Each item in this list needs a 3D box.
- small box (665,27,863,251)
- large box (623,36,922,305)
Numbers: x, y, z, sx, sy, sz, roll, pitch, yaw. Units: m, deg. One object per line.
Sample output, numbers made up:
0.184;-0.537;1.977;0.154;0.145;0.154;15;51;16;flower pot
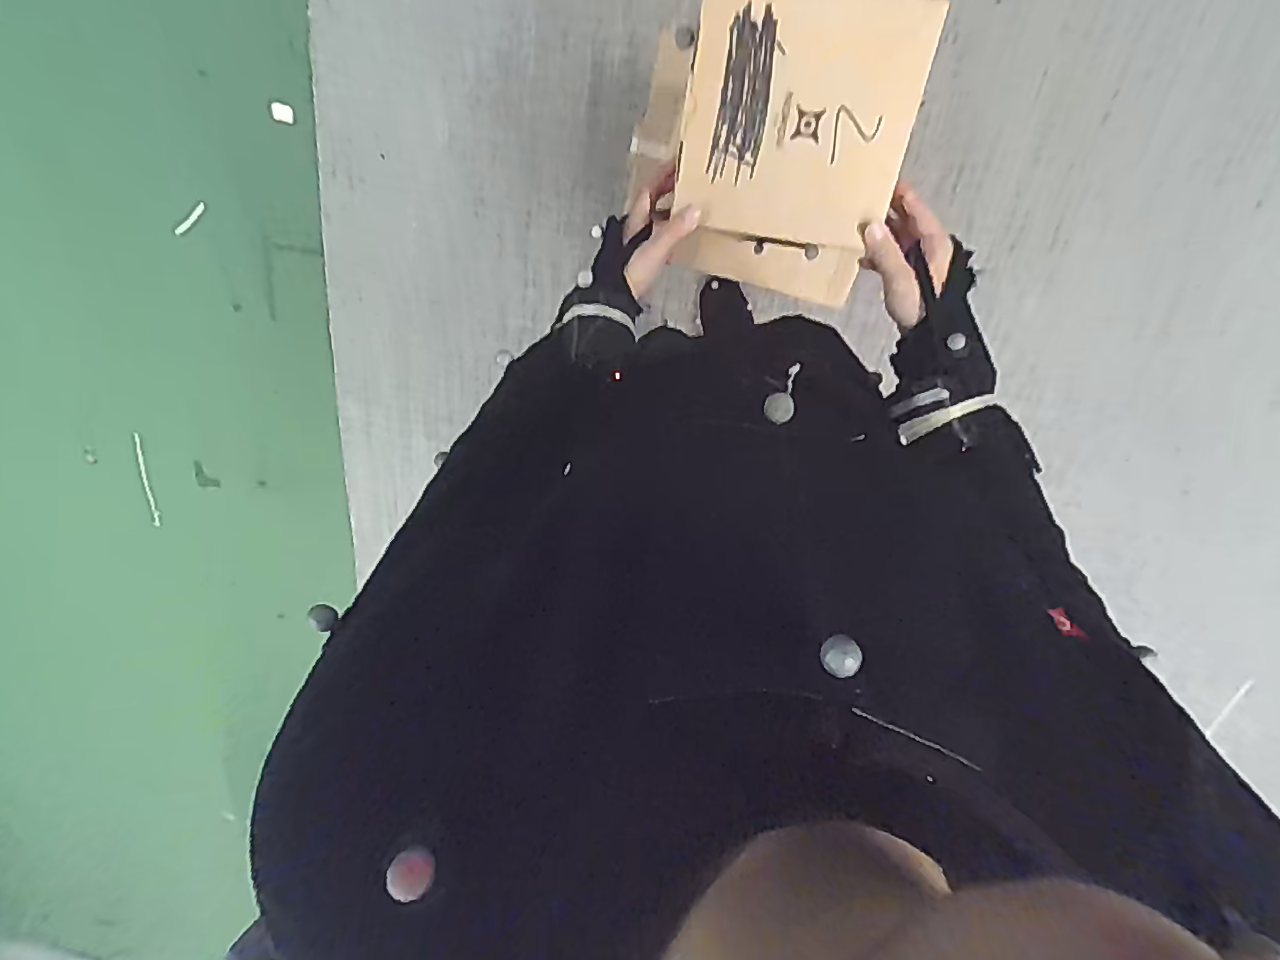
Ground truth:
0.131;-0.379;0.634;0.168;0.176;0.179;12;114;0;small box
0.208;-0.539;0.997;0.408;0.320;0.320;15;115;0;large box
